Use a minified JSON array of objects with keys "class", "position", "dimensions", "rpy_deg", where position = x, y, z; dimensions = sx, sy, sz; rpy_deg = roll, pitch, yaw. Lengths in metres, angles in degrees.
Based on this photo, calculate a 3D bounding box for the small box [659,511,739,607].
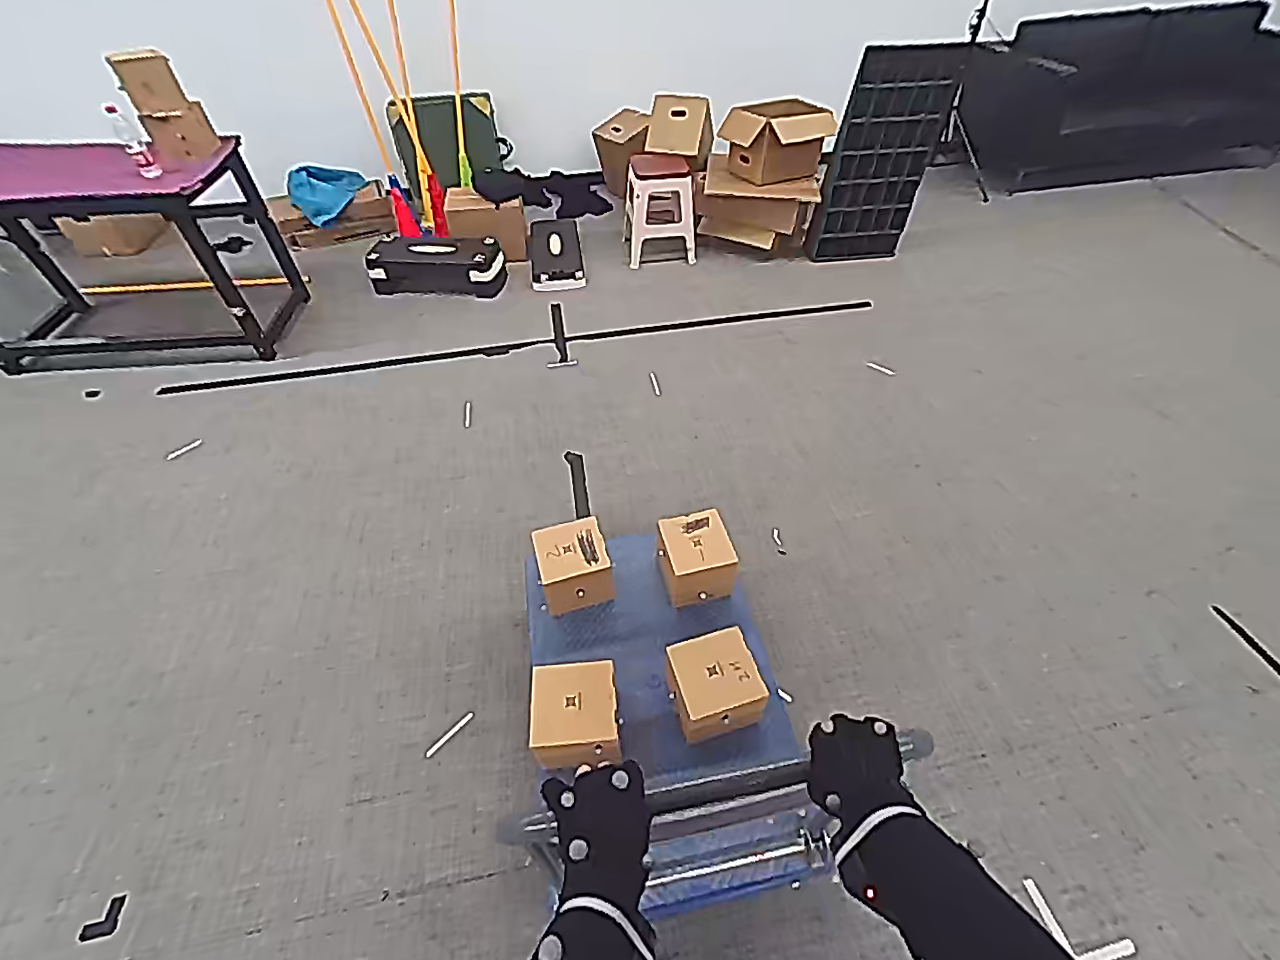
[{"class":"small box","position":[0.149,0.213,1.446],"dimensions":[0.168,0.176,0.179],"rpy_deg":[-11,50,-9]}]

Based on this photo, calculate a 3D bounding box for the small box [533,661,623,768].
[{"class":"small box","position":[-0.132,0.517,1.185],"dimensions":[0.179,0.176,0.168],"rpy_deg":[-4,48,-3]}]

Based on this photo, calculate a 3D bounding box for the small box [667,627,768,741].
[{"class":"small box","position":[0.169,0.465,1.221],"dimensions":[0.179,0.176,0.168],"rpy_deg":[-14,50,-10]}]
